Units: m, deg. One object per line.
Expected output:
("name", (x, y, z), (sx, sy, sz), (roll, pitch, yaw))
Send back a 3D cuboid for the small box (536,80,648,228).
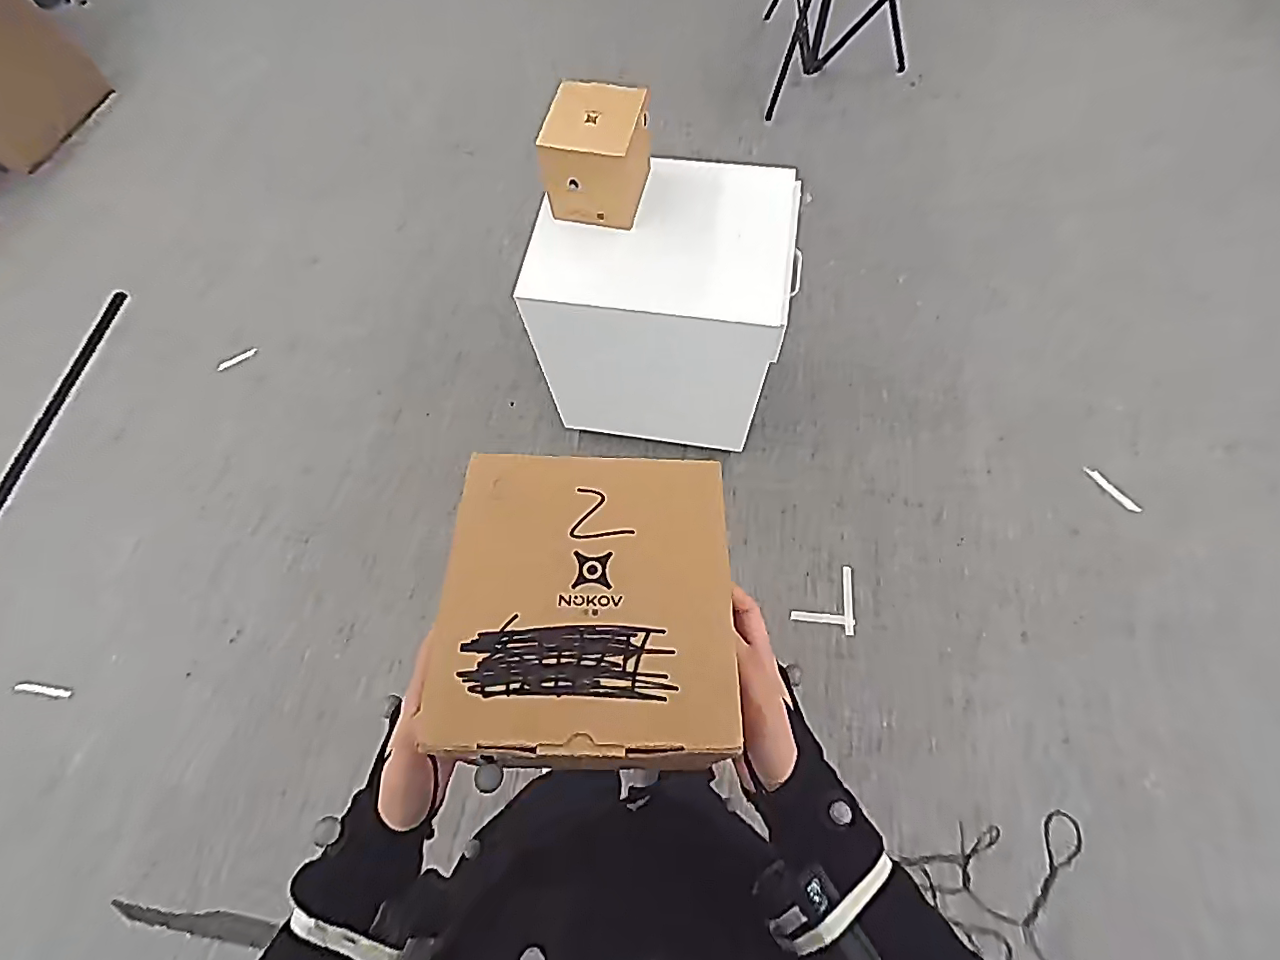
("small box", (-0.081, -0.617, 1.036), (0.168, 0.176, 0.179), (11, 70, 7))
